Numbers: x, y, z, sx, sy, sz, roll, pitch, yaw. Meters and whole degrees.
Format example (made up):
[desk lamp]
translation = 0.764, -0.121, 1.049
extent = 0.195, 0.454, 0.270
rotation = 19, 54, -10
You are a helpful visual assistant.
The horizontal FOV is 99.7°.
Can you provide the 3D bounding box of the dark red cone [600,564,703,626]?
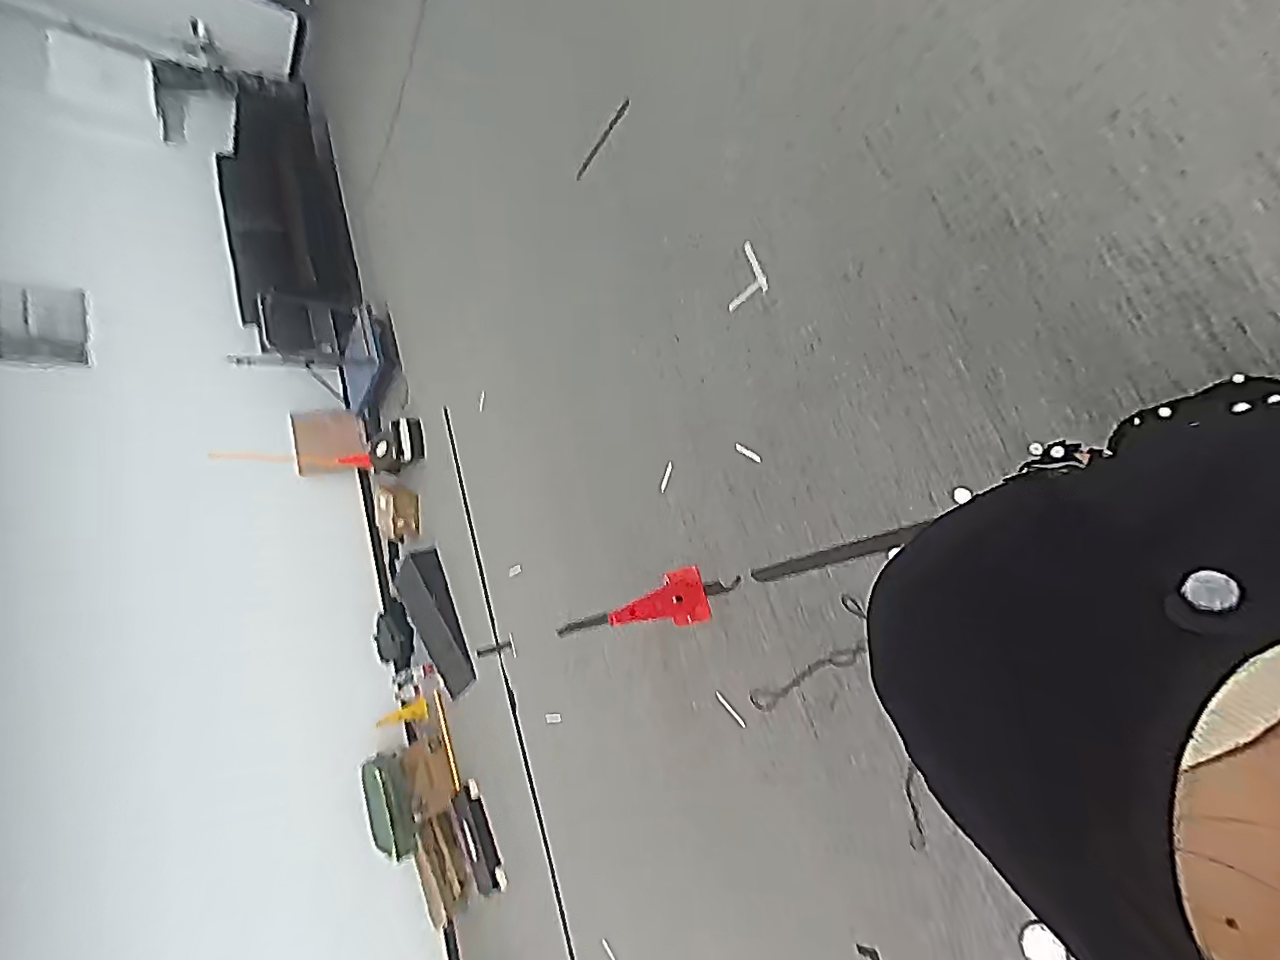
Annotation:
[dark red cone]
translation = 0.021, 0.438, 1.878
extent = 0.202, 0.394, 0.201
rotation = -30, 73, 45
